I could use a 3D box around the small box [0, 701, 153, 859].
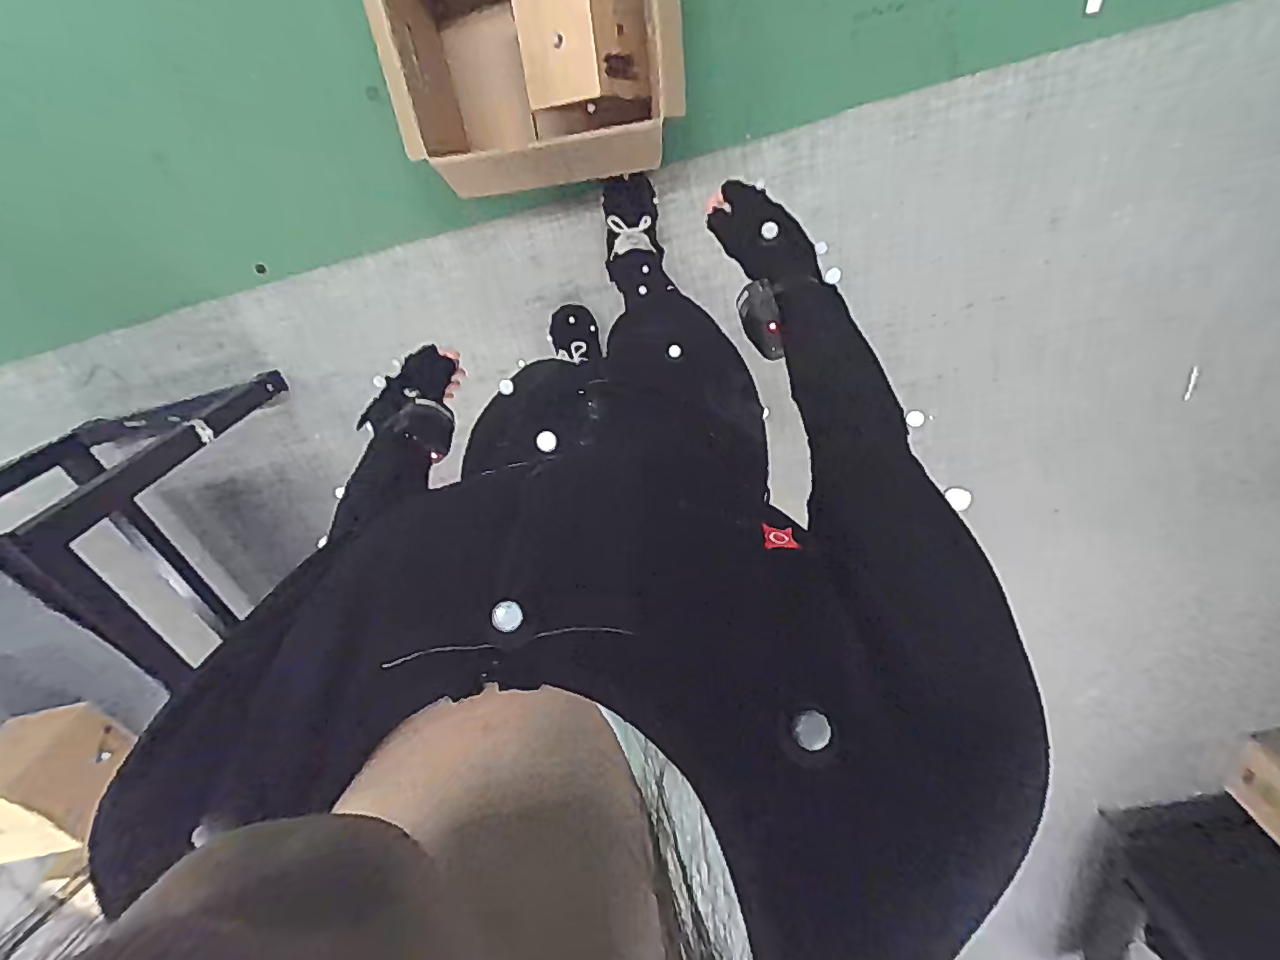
[{"bbox_3d":[-1.019,0.511,0.931,0.179,0.176,0.168,-14,122,6],"label":"small box"}]

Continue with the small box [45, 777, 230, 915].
[{"bbox_3d":[-0.956,0.709,1.057,0.179,0.176,0.168,-12,121,6],"label":"small box"}]
